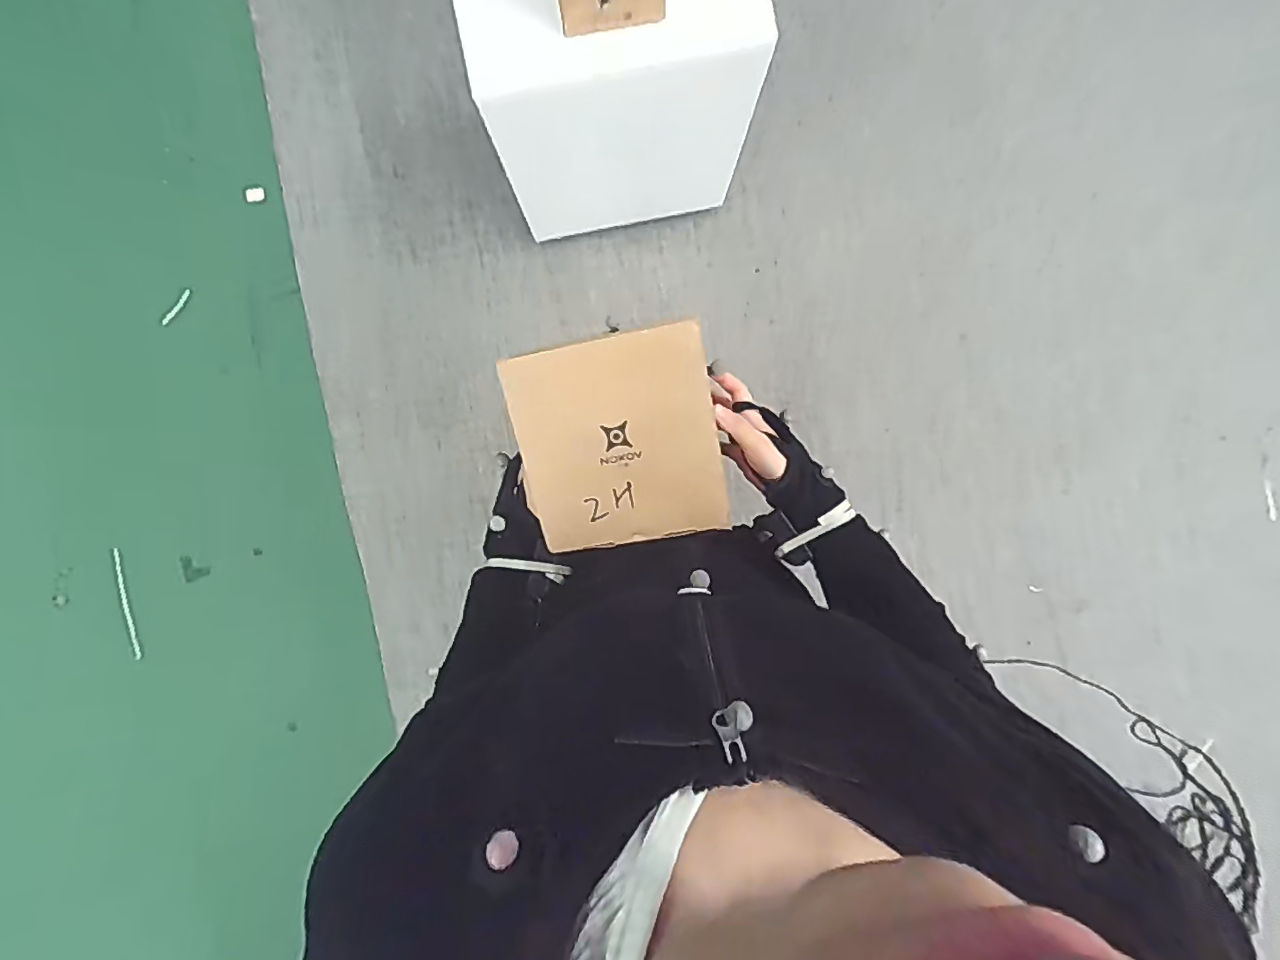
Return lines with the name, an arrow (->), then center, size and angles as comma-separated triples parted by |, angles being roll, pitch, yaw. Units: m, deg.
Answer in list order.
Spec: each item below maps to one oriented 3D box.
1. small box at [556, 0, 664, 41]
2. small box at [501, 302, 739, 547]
small box -> -0.056, -0.801, 0.787 | 0.168, 0.176, 0.179 | -11, 90, 0
small box -> -0.007, -0.059, 0.505 | 0.168, 0.176, 0.179 | -9, 106, 9
